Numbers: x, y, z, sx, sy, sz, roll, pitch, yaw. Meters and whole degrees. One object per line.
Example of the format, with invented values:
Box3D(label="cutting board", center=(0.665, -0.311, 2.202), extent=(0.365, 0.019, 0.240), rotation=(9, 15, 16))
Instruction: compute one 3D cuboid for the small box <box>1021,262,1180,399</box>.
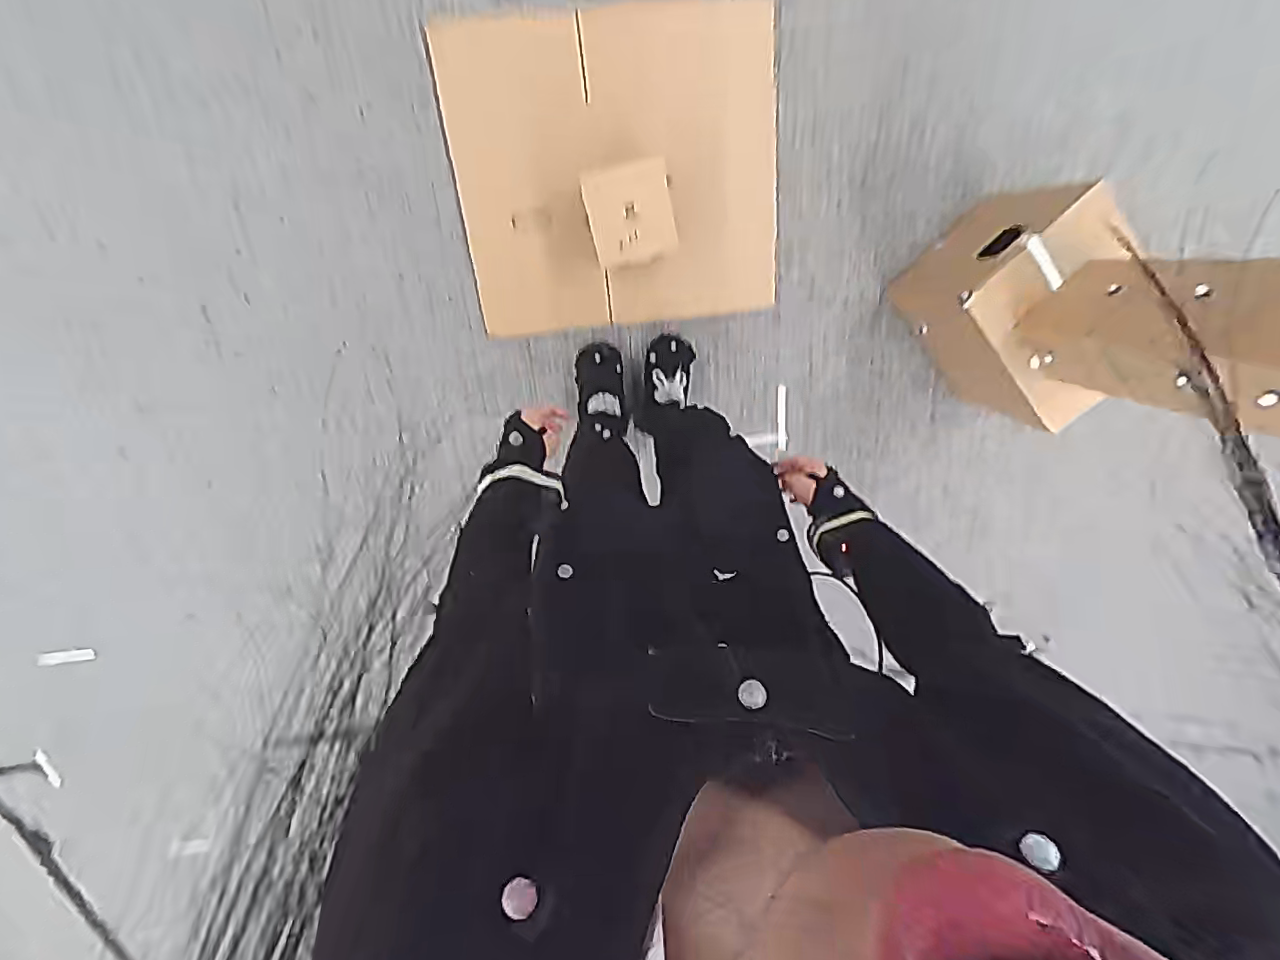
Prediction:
Box3D(label="small box", center=(0.870, -0.284, 1.005), extent=(0.179, 0.176, 0.168), rotation=(-44, 109, 12))

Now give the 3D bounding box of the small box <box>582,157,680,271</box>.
Box3D(label="small box", center=(-0.021, -0.547, 1.133), extent=(0.168, 0.176, 0.179), rotation=(-14, 113, 3))

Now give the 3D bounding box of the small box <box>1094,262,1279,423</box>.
Box3D(label="small box", center=(0.888, -0.225, 0.853), extent=(0.179, 0.176, 0.168), rotation=(-44, 109, 11))

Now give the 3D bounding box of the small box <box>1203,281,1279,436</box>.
Box3D(label="small box", center=(0.904, -0.160, 0.704), extent=(0.168, 0.176, 0.179), rotation=(42, 102, -19))
